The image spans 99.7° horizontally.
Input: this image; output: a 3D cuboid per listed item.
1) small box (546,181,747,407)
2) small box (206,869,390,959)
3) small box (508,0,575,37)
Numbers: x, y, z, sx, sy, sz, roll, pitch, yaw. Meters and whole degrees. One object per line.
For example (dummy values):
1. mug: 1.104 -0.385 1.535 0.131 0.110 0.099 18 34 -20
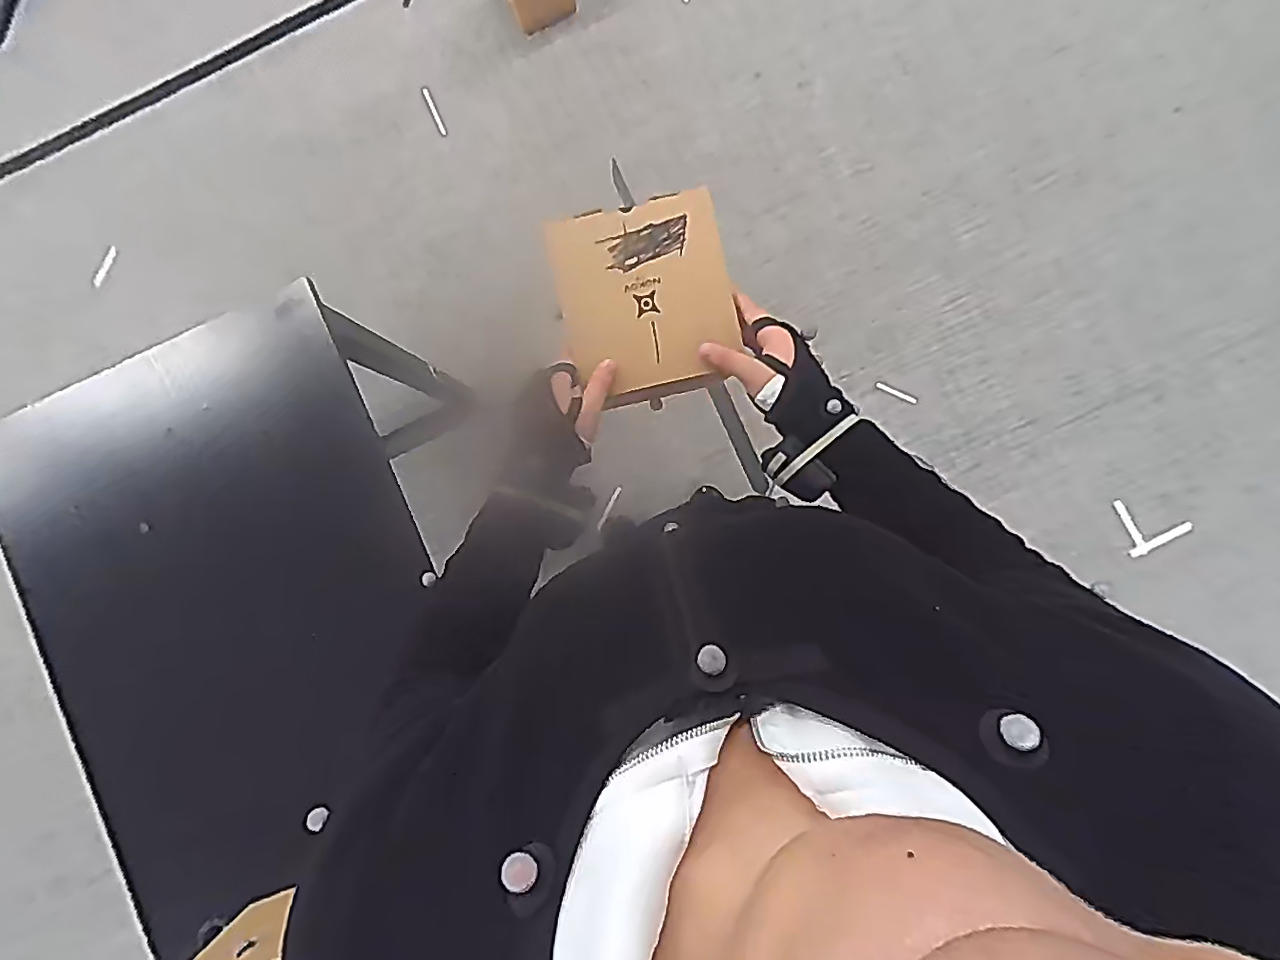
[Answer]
1. small box: 0.005 -0.187 0.595 0.168 0.176 0.179 -13 94 1
2. small box: -0.454 0.655 0.700 0.179 0.176 0.168 -22 86 2
3. small box: -0.292 -1.408 1.512 0.179 0.176 0.168 -25 86 2
